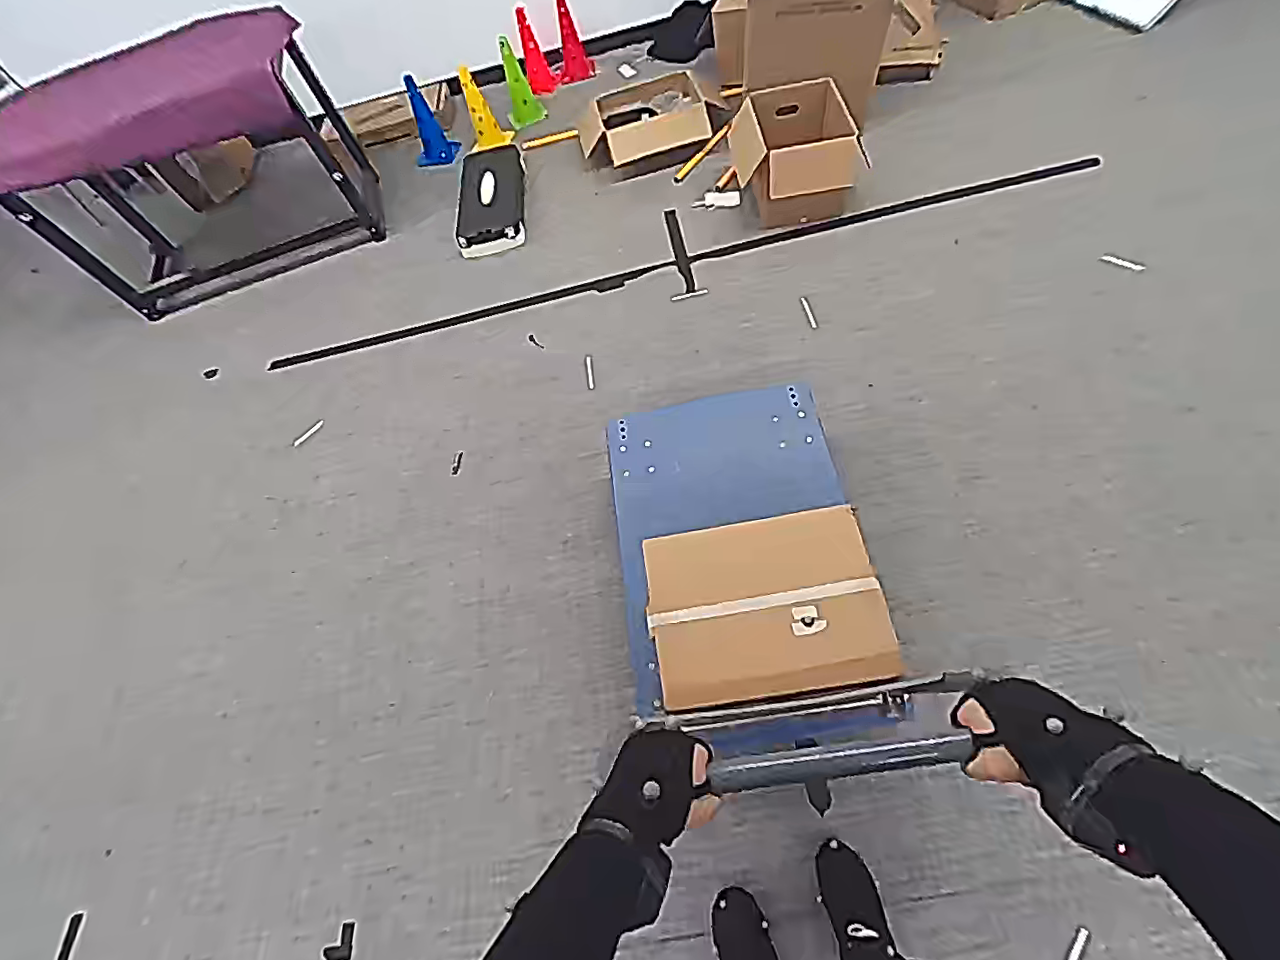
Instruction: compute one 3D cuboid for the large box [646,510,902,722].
[{"bbox_3d":[0.246,0.295,1.114,0.408,0.320,0.320,-10,63,3],"label":"large box"}]
